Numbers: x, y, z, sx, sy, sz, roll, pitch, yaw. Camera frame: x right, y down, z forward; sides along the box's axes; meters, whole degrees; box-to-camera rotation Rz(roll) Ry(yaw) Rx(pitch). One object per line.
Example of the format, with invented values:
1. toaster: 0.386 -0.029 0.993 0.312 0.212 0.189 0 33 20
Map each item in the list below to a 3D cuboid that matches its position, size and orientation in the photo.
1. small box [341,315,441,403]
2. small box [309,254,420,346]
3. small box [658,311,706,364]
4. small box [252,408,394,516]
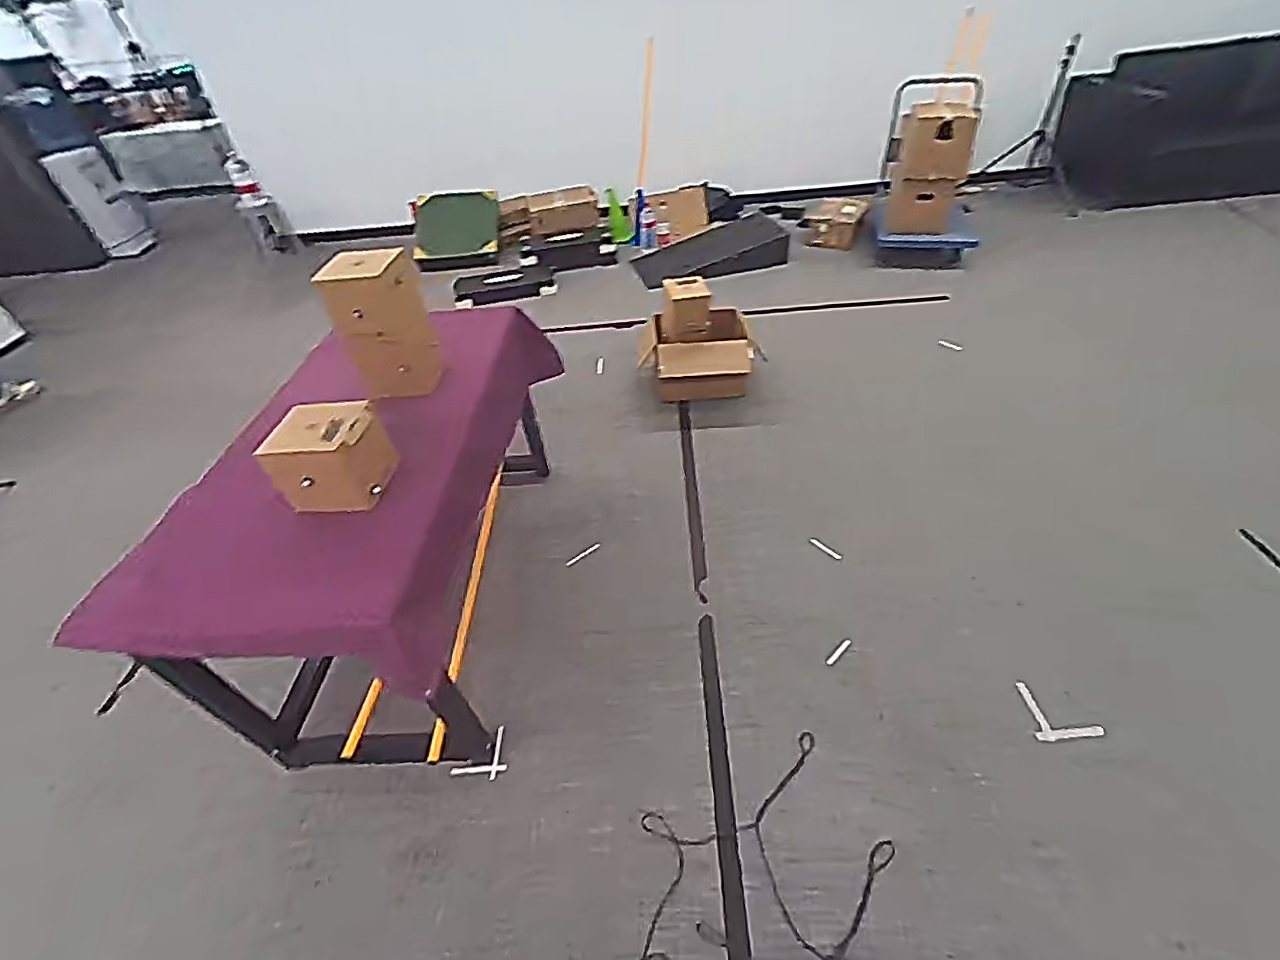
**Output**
1. small box: -0.663 -0.327 1.467 0.179 0.176 0.168 -5 43 3
2. small box: -0.677 -0.447 1.356 0.168 0.176 0.179 -3 42 3
3. small box: 0.193 -0.661 2.518 0.179 0.176 0.168 -17 48 -15
4. small box: -0.661 -0.037 1.158 0.179 0.176 0.168 -2 43 5
